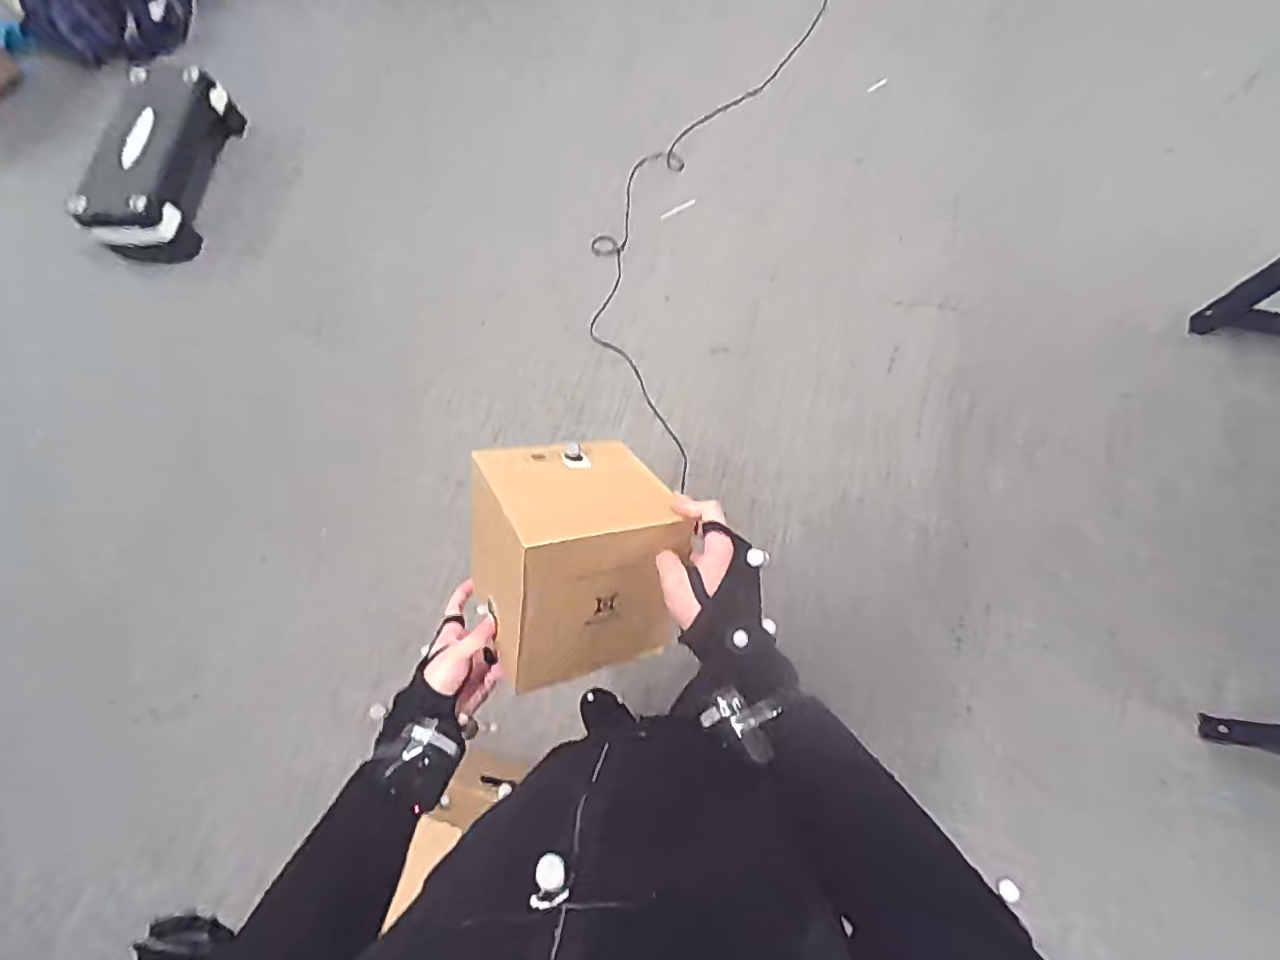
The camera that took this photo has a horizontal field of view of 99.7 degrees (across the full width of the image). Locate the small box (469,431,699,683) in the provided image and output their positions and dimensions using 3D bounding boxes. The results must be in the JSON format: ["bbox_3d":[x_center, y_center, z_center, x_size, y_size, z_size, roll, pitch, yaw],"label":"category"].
[{"bbox_3d":[-0.069,0.064,0.546,0.168,0.179,0.176,-6,30,-31],"label":"small box"}]

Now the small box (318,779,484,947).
[{"bbox_3d":[-0.391,0.635,0.924,0.179,0.176,0.168,14,73,8],"label":"small box"}]
